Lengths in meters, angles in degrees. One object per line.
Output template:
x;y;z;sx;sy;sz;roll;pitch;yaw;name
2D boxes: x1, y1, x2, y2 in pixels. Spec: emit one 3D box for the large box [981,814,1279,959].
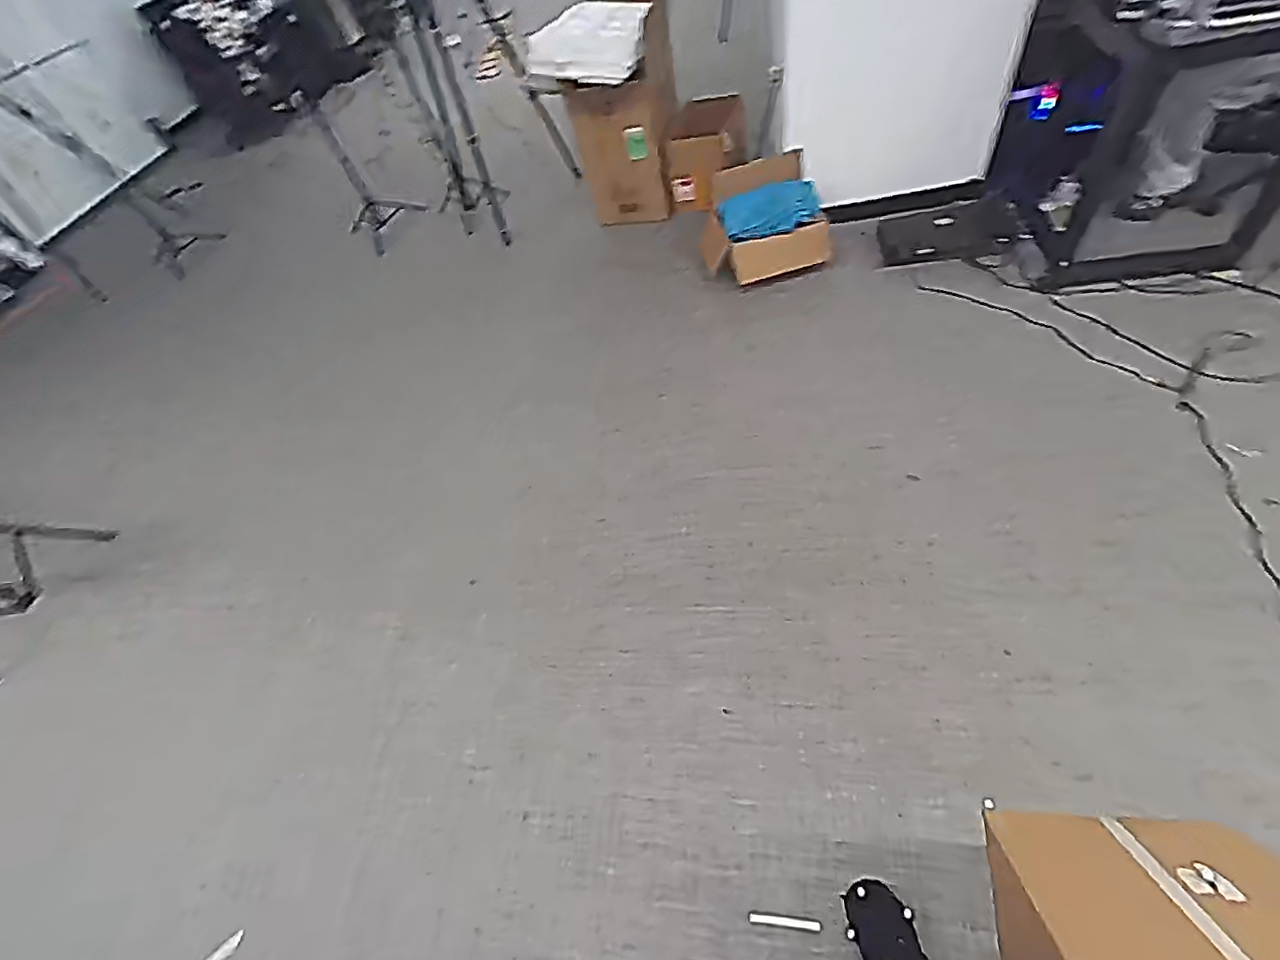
0.633;0.644;0.595;0.320;0.408;0.320;-5;87;16;large box
